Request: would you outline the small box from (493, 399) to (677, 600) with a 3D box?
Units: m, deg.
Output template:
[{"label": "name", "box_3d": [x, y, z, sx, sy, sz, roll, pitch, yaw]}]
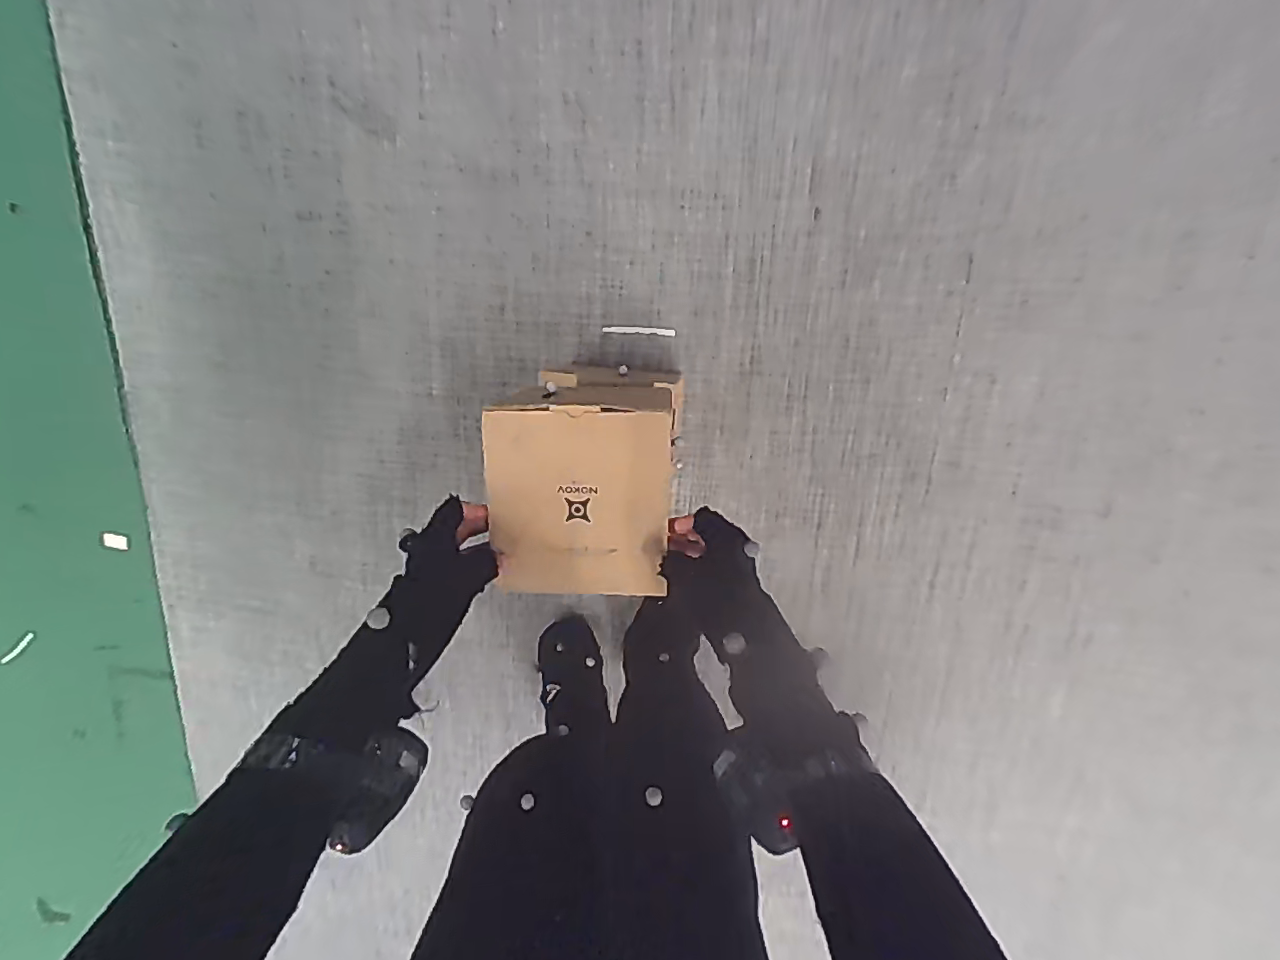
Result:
[{"label": "small box", "box_3d": [-0.045, 0.009, 0.571, 0.168, 0.176, 0.179, 0, 106, 4]}]

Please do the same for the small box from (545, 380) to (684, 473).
[{"label": "small box", "box_3d": [-0.032, -0.052, 0.774, 0.179, 0.176, 0.168, 6, 103, 6]}]
